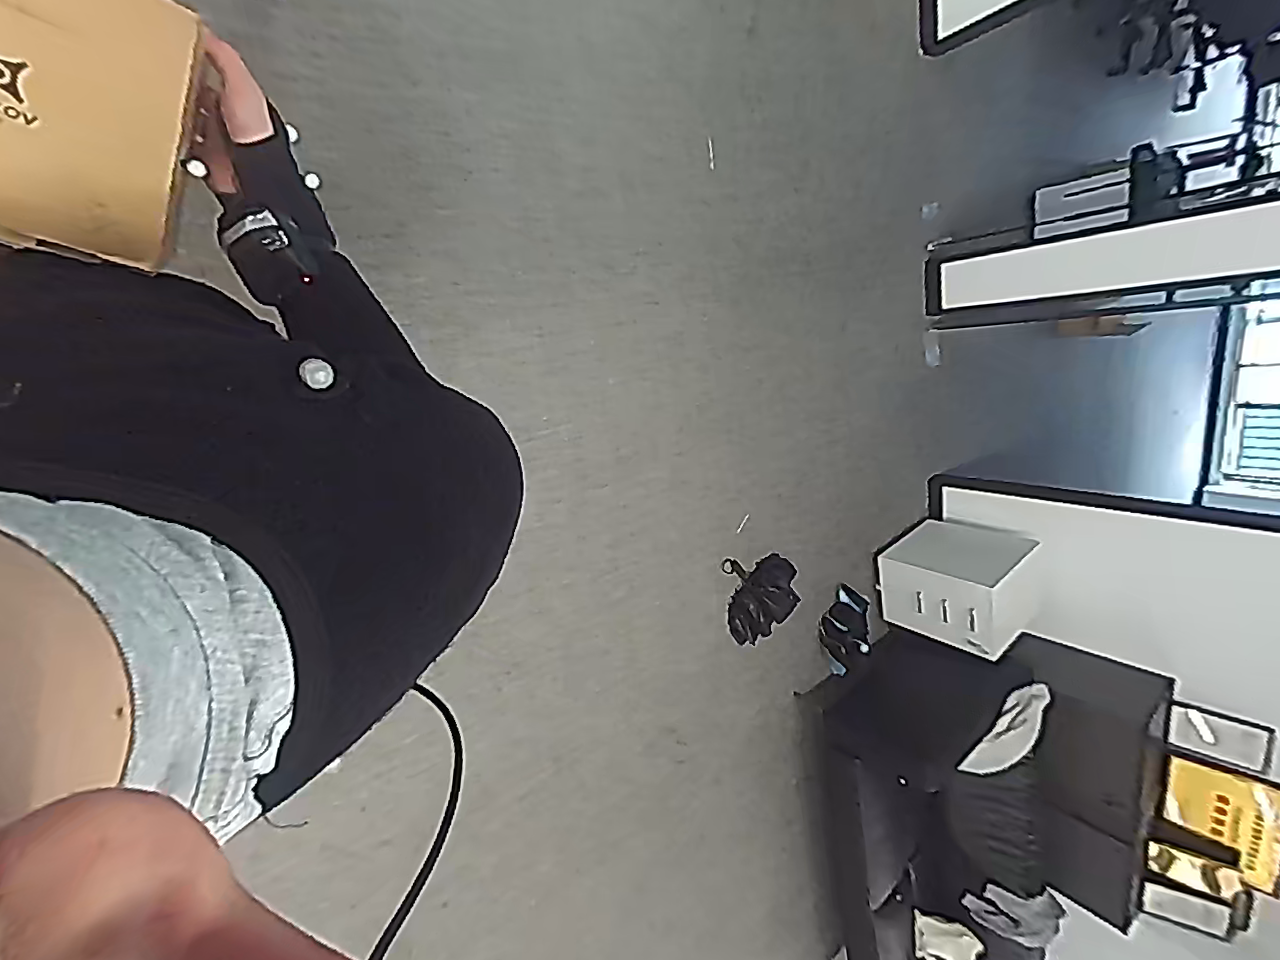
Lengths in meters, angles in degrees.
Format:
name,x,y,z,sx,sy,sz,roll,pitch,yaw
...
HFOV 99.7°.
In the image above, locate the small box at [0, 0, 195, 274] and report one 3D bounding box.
name,x,y,z,sx,sy,sz,roll,pitch,yaw
small box,-0.430,-0.269,0.379,0.168,0.176,0.179,9,107,-42
